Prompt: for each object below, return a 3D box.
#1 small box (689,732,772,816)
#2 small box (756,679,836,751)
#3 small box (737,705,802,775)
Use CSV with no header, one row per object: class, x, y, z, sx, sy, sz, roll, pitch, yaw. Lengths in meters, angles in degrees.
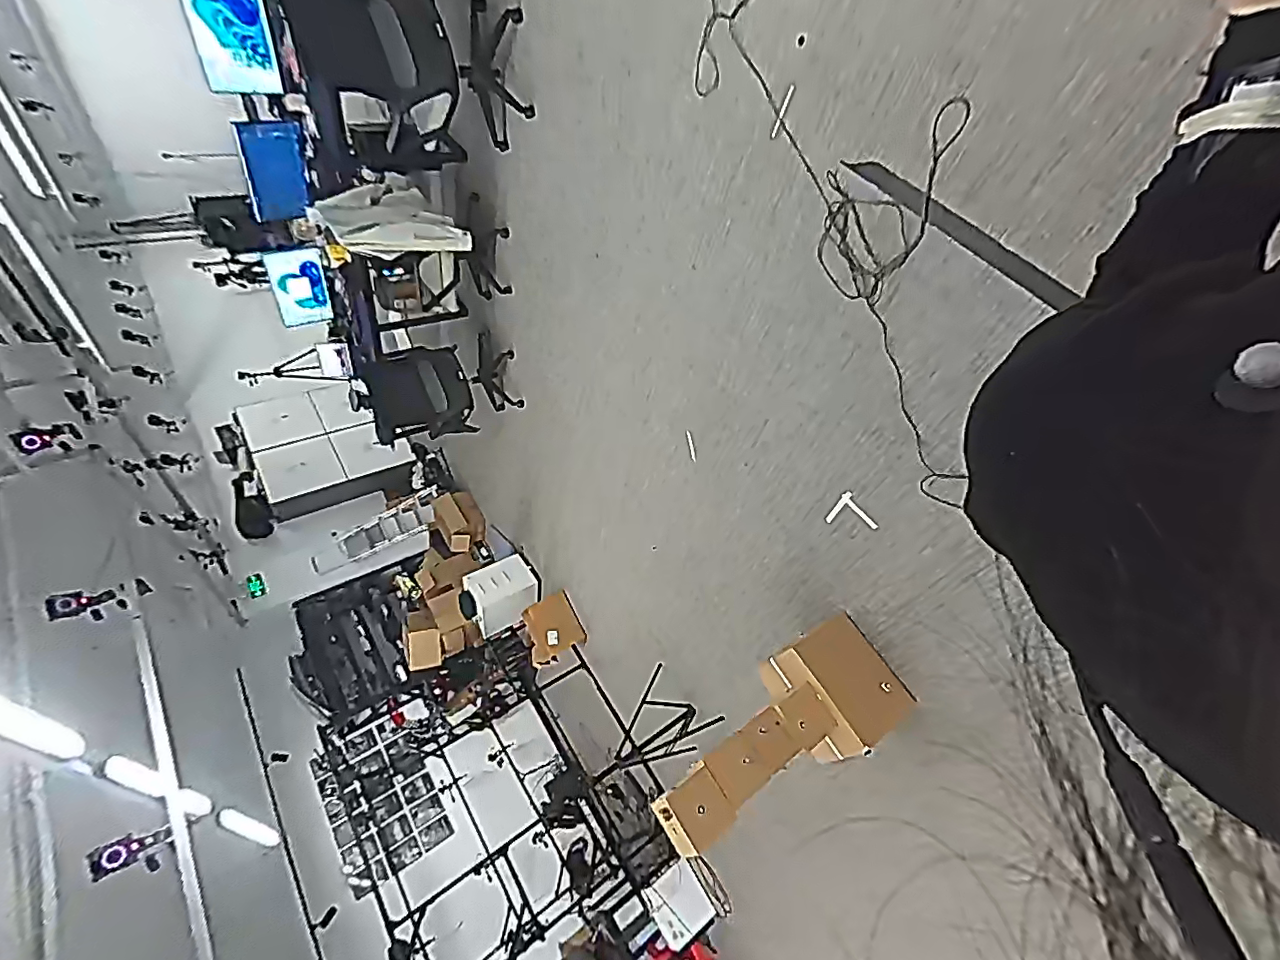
small box,0.294,0.954,1.771,0.179,0.176,0.168,52,146,26
small box,0.557,0.840,1.926,0.179,0.176,0.168,57,148,18
small box,0.427,0.907,1.853,0.168,0.176,0.179,48,145,31
